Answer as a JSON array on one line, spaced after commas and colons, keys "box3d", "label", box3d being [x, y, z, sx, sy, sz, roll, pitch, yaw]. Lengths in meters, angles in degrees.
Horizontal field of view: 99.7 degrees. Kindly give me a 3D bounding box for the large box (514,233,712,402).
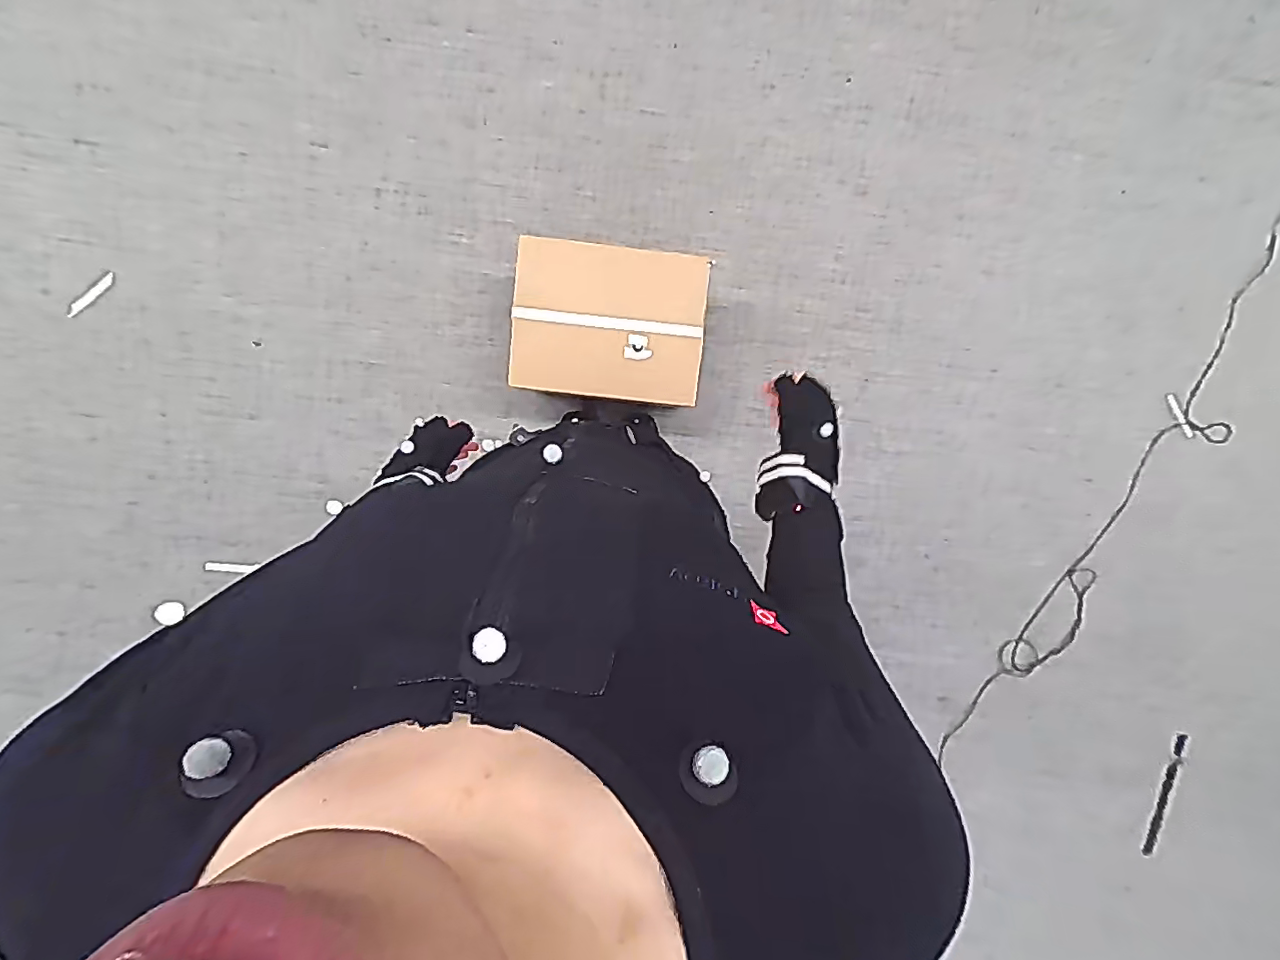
[{"box3d": [-0.066, -0.359, 1.284, 0.408, 0.320, 0.320, 6, 98, -3], "label": "large box"}]
